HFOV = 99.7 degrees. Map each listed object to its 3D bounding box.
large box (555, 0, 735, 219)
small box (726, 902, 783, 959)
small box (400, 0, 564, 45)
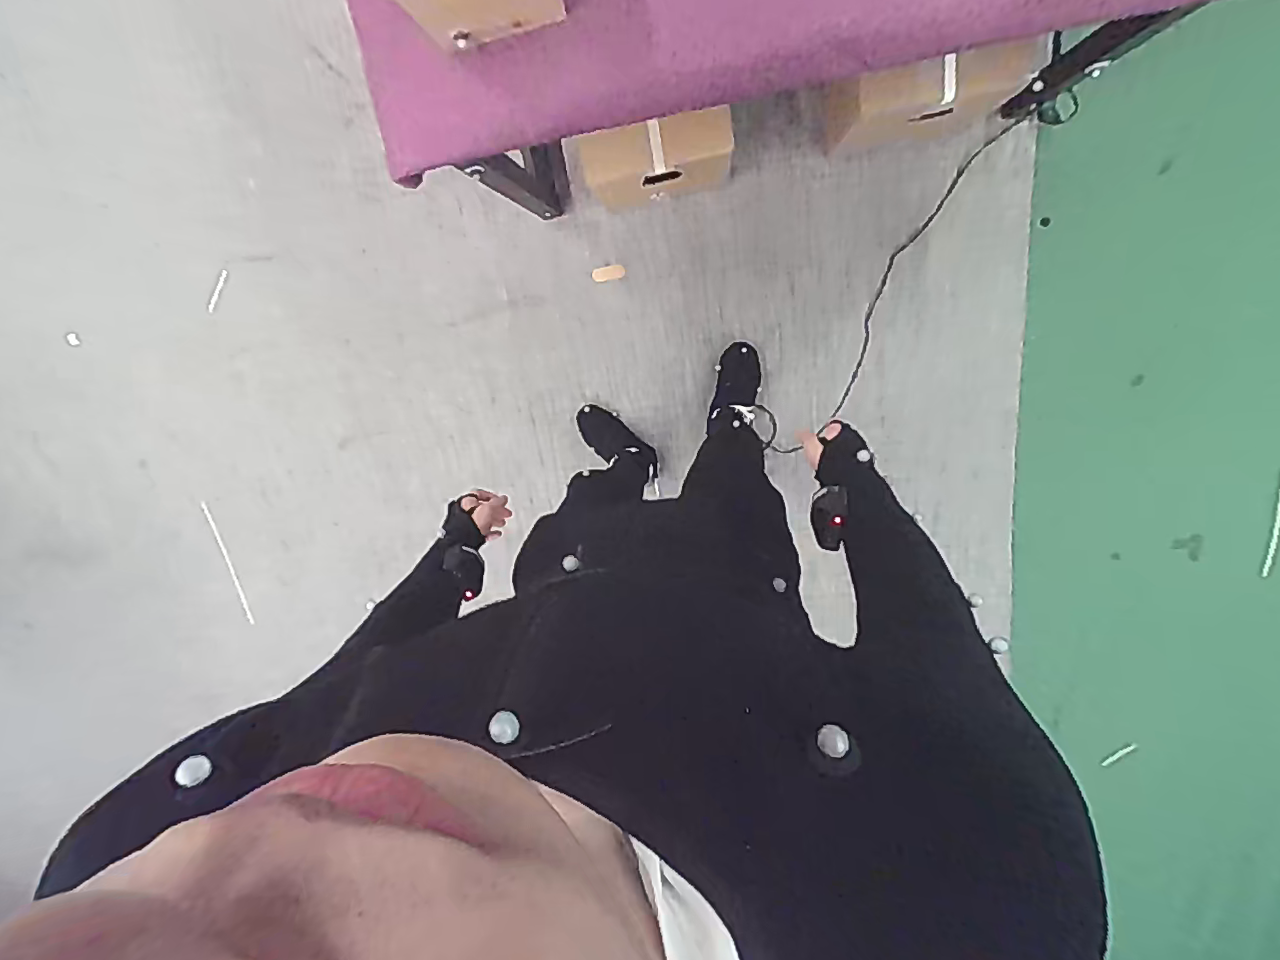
[{"bbox_3d":[0.022,-0.855,1.201,0.320,0.320,0.408,-9,104,8],"label":"large box"},{"bbox_3d":[0.358,1.487,1.700,0.168,0.176,0.179,4,106,8],"label":"small box"},{"bbox_3d":[-0.193,-0.626,0.598,0.168,0.176,0.179,-8,104,9],"label":"small box"}]
